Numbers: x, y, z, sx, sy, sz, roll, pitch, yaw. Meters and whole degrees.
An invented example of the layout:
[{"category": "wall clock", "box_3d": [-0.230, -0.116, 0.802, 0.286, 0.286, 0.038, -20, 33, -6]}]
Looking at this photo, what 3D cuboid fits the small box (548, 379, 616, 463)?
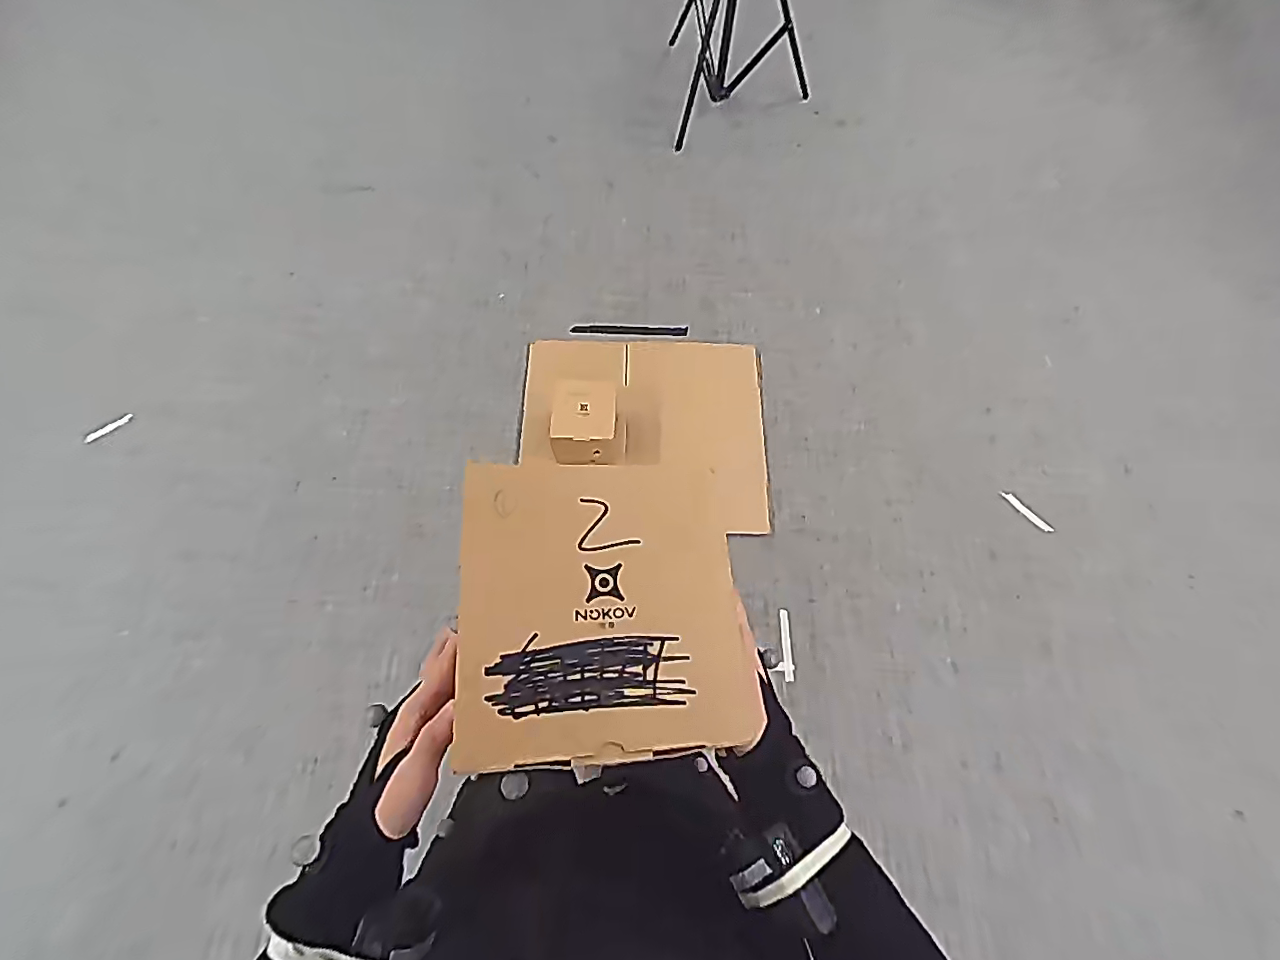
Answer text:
[{"category": "small box", "box_3d": [-0.152, -0.155, 1.475, 0.168, 0.176, 0.179, 2, 68, -2]}]
